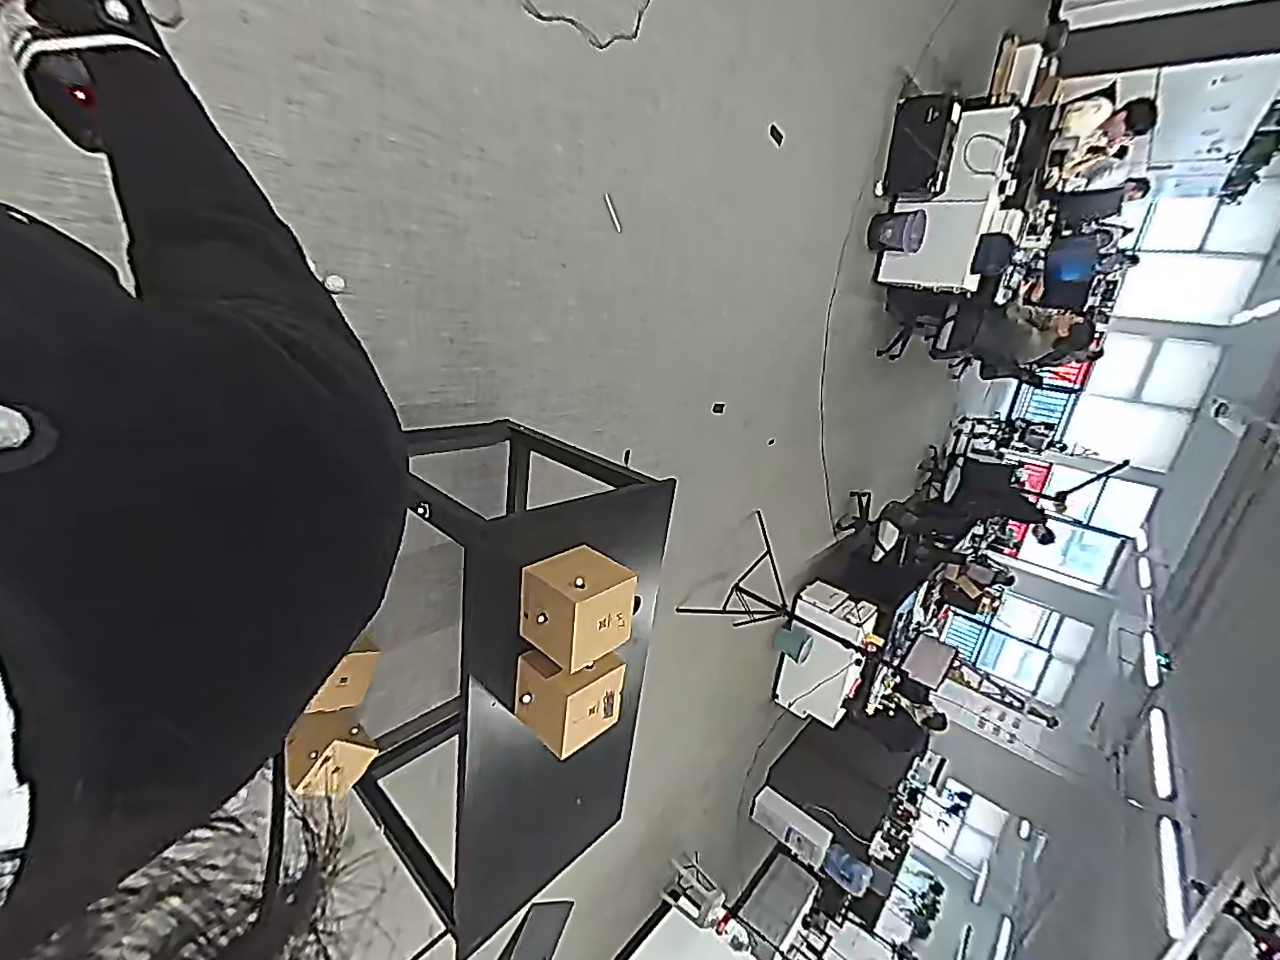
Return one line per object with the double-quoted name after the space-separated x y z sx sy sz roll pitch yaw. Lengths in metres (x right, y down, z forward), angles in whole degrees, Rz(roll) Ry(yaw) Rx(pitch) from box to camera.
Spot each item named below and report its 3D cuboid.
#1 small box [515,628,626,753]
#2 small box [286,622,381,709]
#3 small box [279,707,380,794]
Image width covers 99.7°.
-0.158 0.462 1.221 0.179 0.176 0.168 -14 118 -47 "small box"
-0.892 0.530 1.566 0.168 0.176 0.179 18 92 -54 "small box"
-0.943 0.819 1.643 0.168 0.176 0.179 -56 142 -16 "small box"
